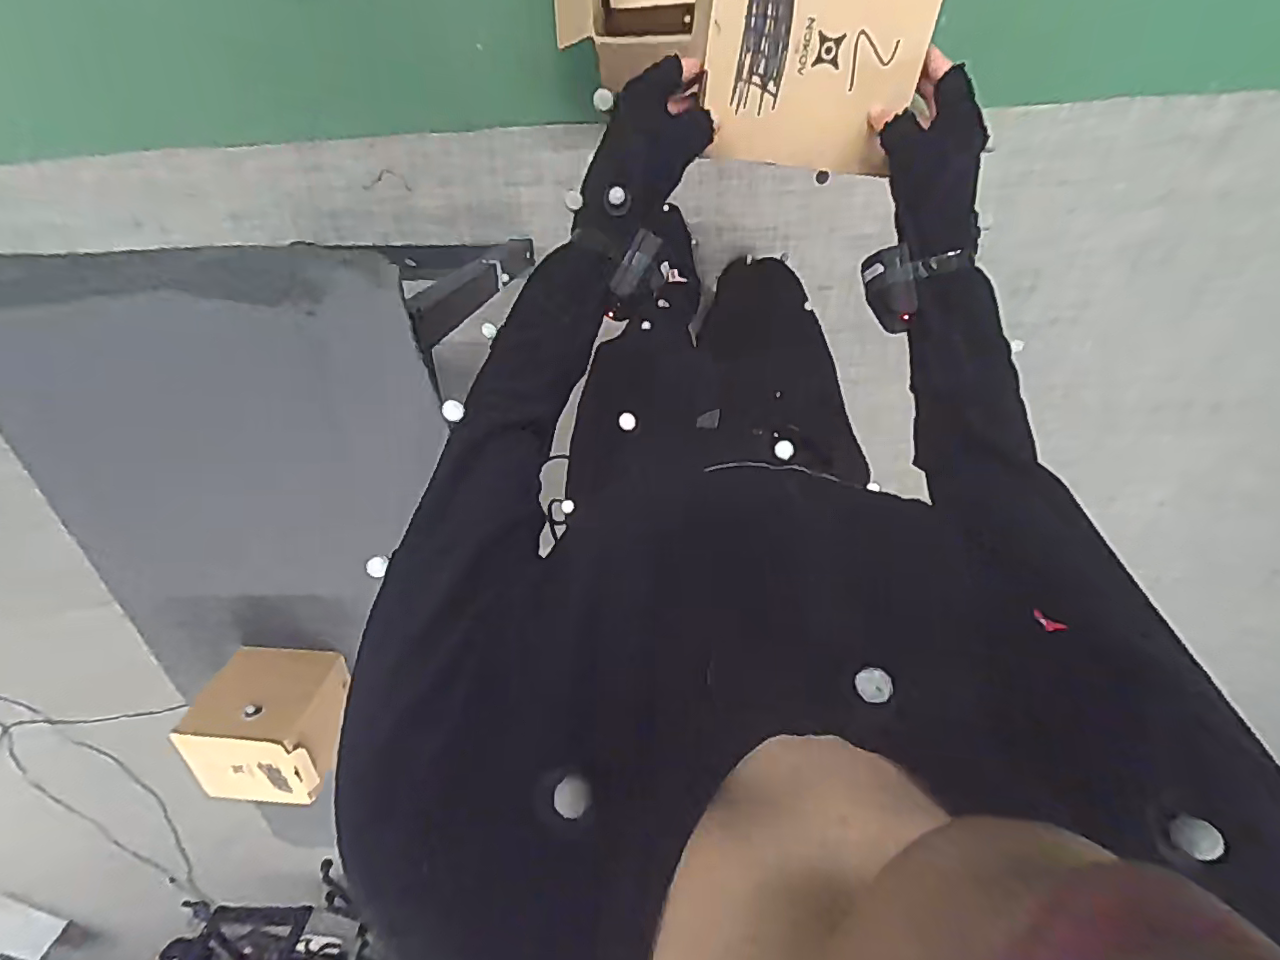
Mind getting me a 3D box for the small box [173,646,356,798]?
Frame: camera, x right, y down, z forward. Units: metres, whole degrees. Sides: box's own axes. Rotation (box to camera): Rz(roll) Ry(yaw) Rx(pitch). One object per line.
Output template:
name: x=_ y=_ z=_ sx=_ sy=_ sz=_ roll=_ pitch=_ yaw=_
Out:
small box: x=-0.601 y=0.397 z=0.900 sx=0.179 sy=0.176 sz=0.168 roll=4 pitch=121 yaw=1
